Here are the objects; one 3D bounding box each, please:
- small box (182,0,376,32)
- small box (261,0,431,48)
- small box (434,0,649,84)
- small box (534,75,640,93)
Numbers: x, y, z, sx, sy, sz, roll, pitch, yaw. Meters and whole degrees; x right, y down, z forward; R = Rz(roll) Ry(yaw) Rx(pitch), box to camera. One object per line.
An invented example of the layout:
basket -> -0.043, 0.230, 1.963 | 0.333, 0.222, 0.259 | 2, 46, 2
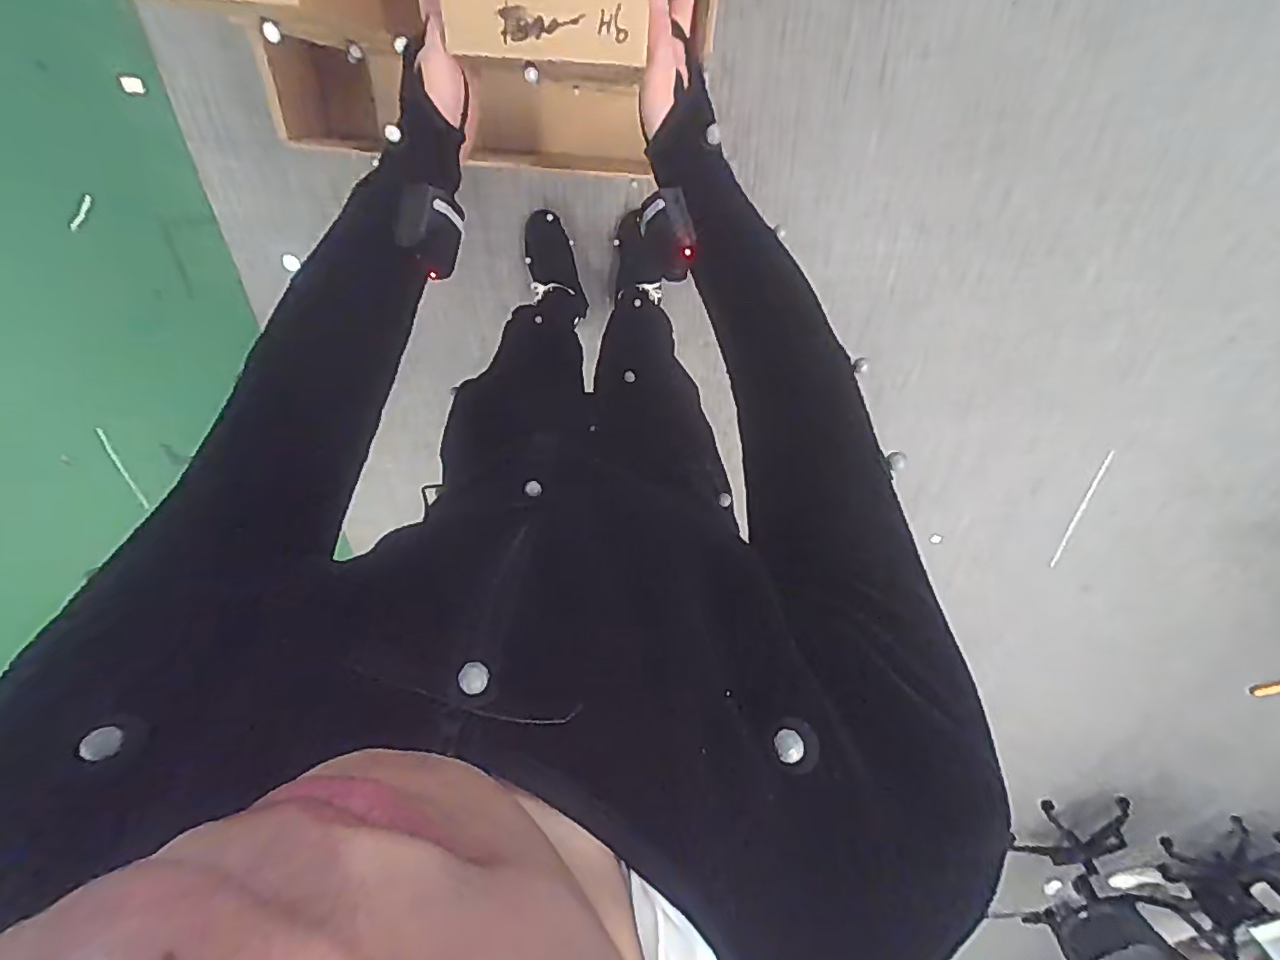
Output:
small box -> -0.342, -0.496, 0.439 | 0.168, 0.176, 0.179 | 5, 124, -1
small box -> -0.340, -0.586, 0.574 | 0.168, 0.176, 0.179 | 4, 124, -1
small box -> -0.074, -0.455, 0.454 | 0.168, 0.176, 0.179 | 2, 122, -2
small box -> -0.076, -0.642, 0.731 | 0.168, 0.176, 0.179 | 5, 124, -2
